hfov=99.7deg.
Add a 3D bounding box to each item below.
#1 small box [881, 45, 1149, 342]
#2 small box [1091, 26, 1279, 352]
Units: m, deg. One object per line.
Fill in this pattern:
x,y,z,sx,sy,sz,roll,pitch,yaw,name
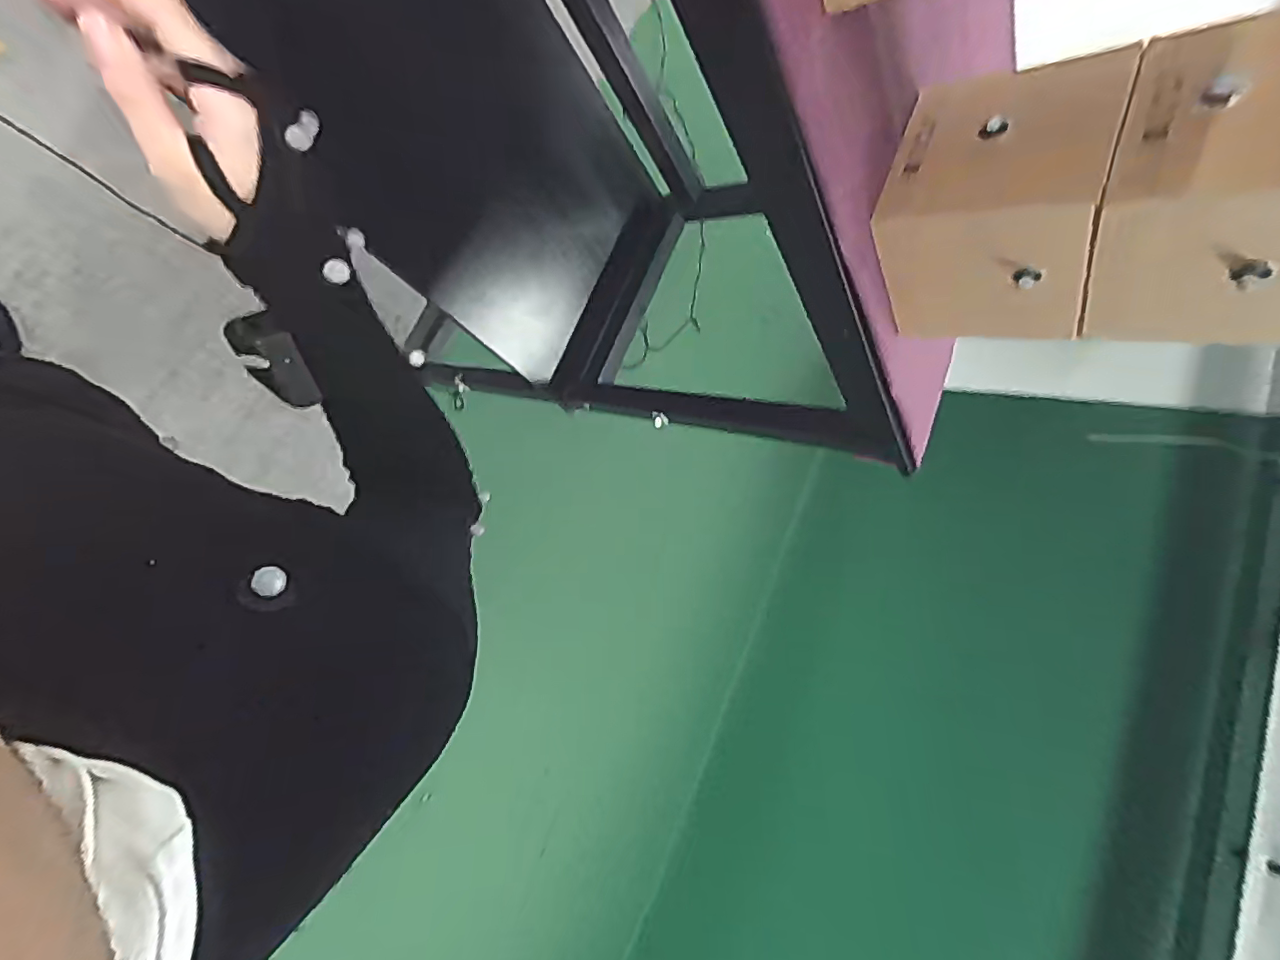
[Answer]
0.347,-0.250,0.518,0.179,0.176,0.168,39,71,-49,small box
0.473,-0.218,0.418,0.179,0.176,0.168,36,73,-48,small box
